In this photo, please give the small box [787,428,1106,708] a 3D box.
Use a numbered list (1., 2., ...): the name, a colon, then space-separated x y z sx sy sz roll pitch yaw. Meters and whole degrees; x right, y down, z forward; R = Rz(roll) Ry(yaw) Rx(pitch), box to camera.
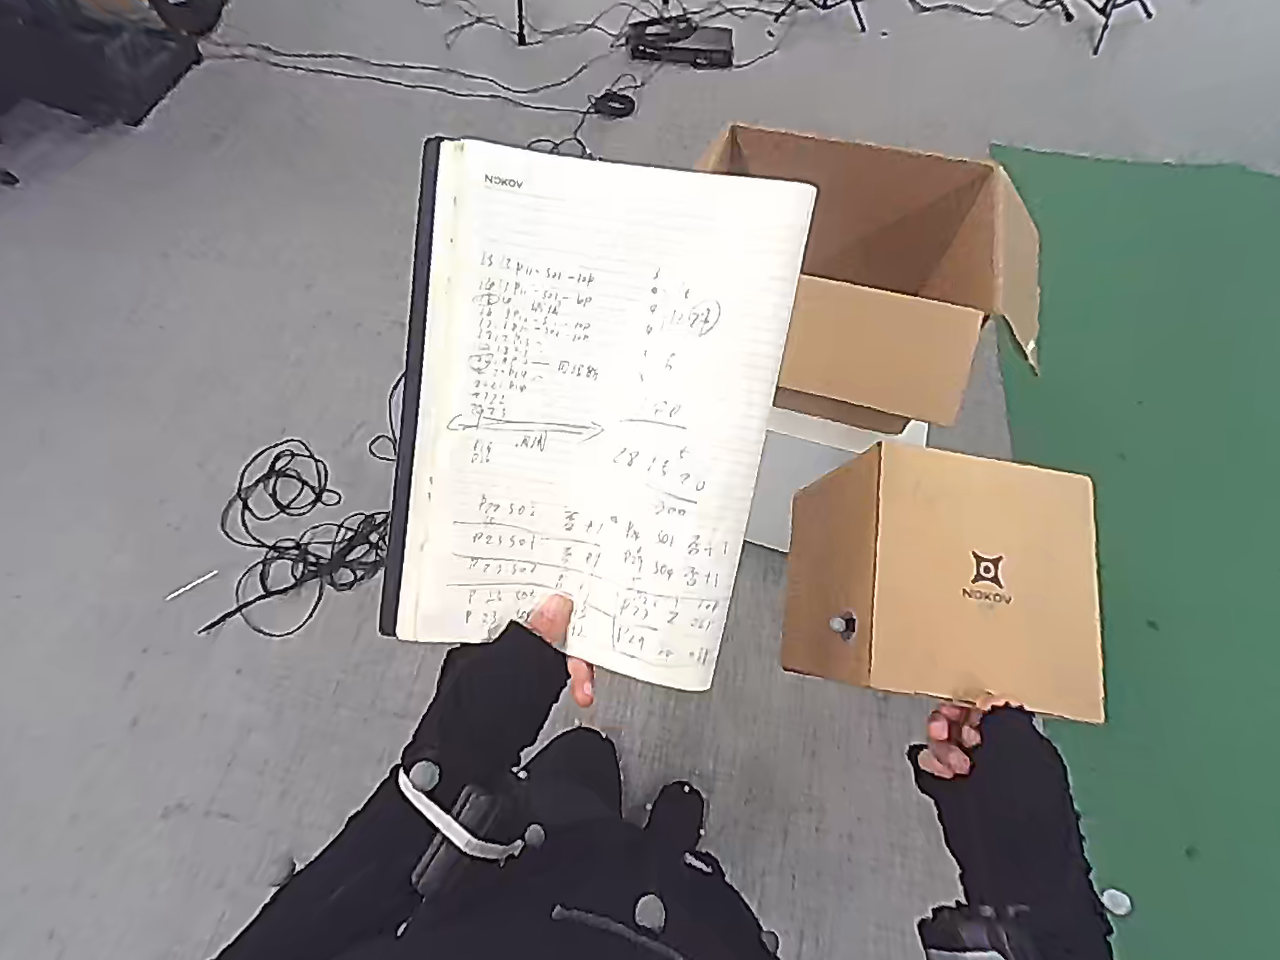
1. small box: 0.235 0.076 0.455 0.168 0.176 0.179 9 76 -4
